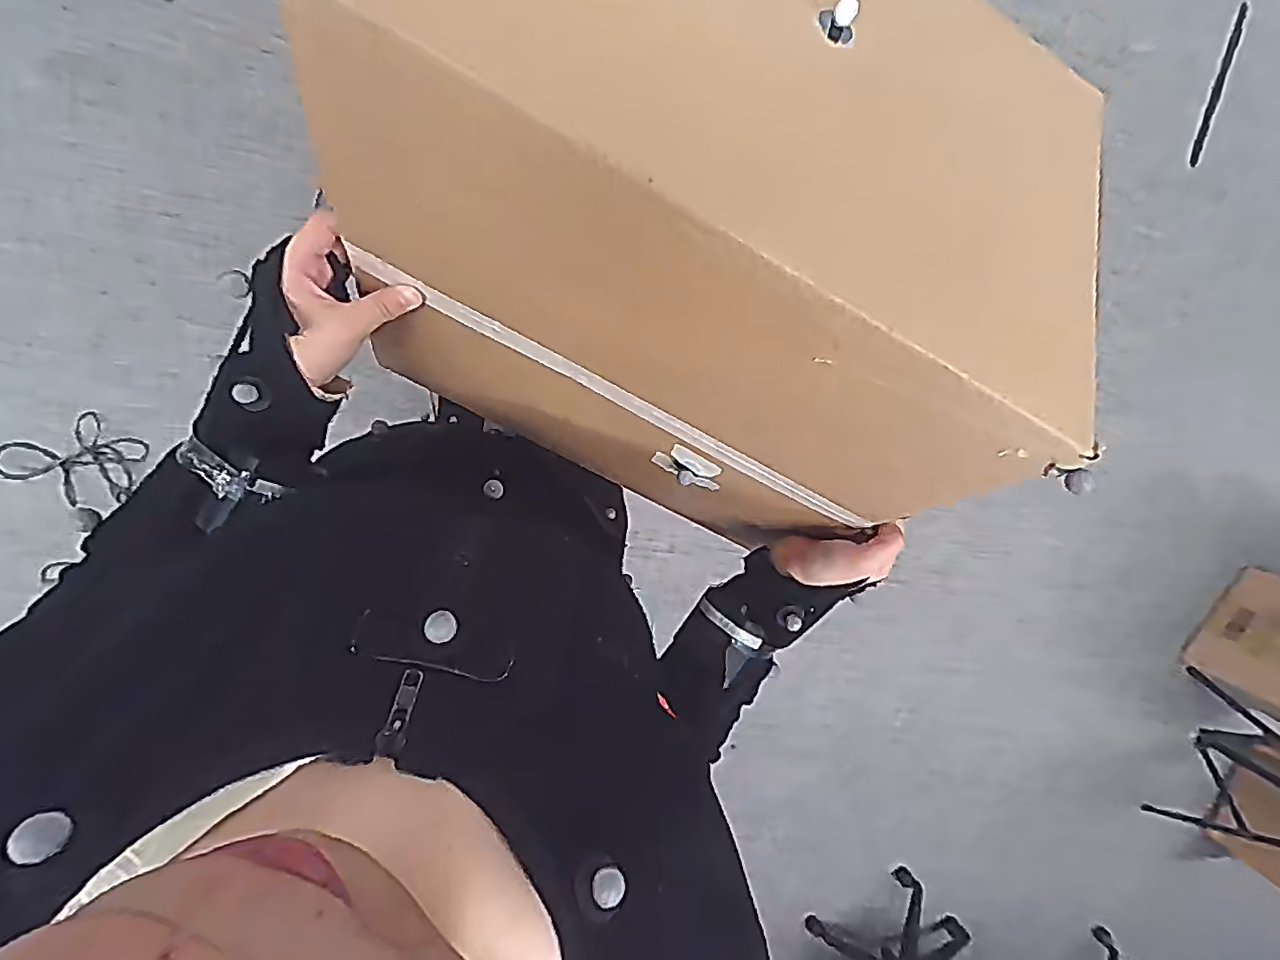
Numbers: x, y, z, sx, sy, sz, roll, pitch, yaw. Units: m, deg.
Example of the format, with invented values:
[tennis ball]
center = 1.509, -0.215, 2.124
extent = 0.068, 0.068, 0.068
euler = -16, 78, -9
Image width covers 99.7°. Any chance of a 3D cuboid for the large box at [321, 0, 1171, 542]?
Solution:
[large box]
center = 0.066, -0.196, 0.403
extent = 0.408, 0.320, 0.320
euler = 26, 68, -10
